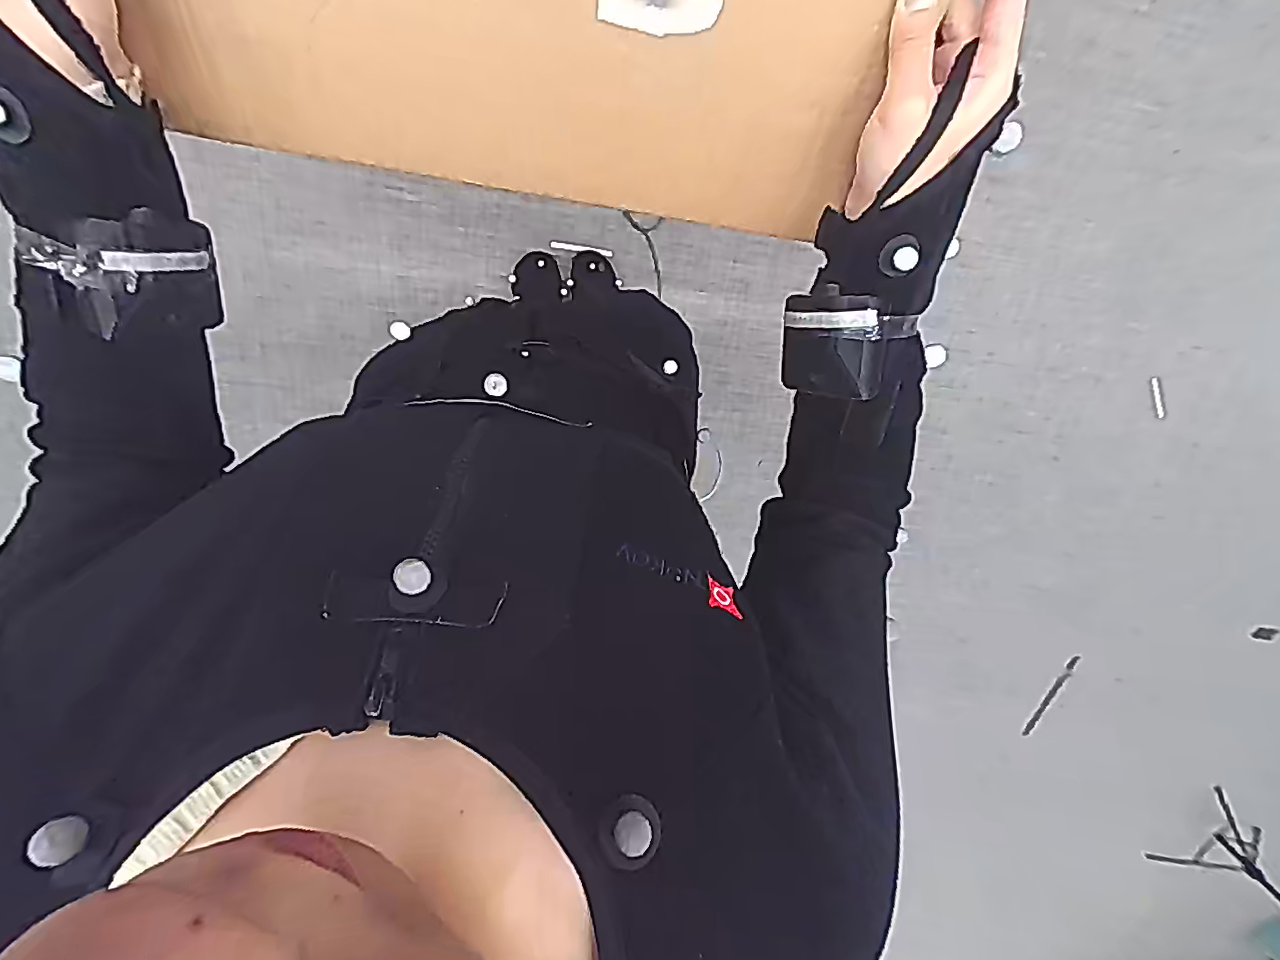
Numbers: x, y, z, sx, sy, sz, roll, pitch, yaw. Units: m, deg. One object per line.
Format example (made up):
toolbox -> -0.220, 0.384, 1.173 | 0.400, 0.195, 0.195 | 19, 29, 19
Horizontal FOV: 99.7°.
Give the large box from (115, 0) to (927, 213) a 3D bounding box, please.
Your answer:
large box -> -0.048, -0.399, 0.302 | 0.408, 0.320, 0.320 | 5, 142, -8
